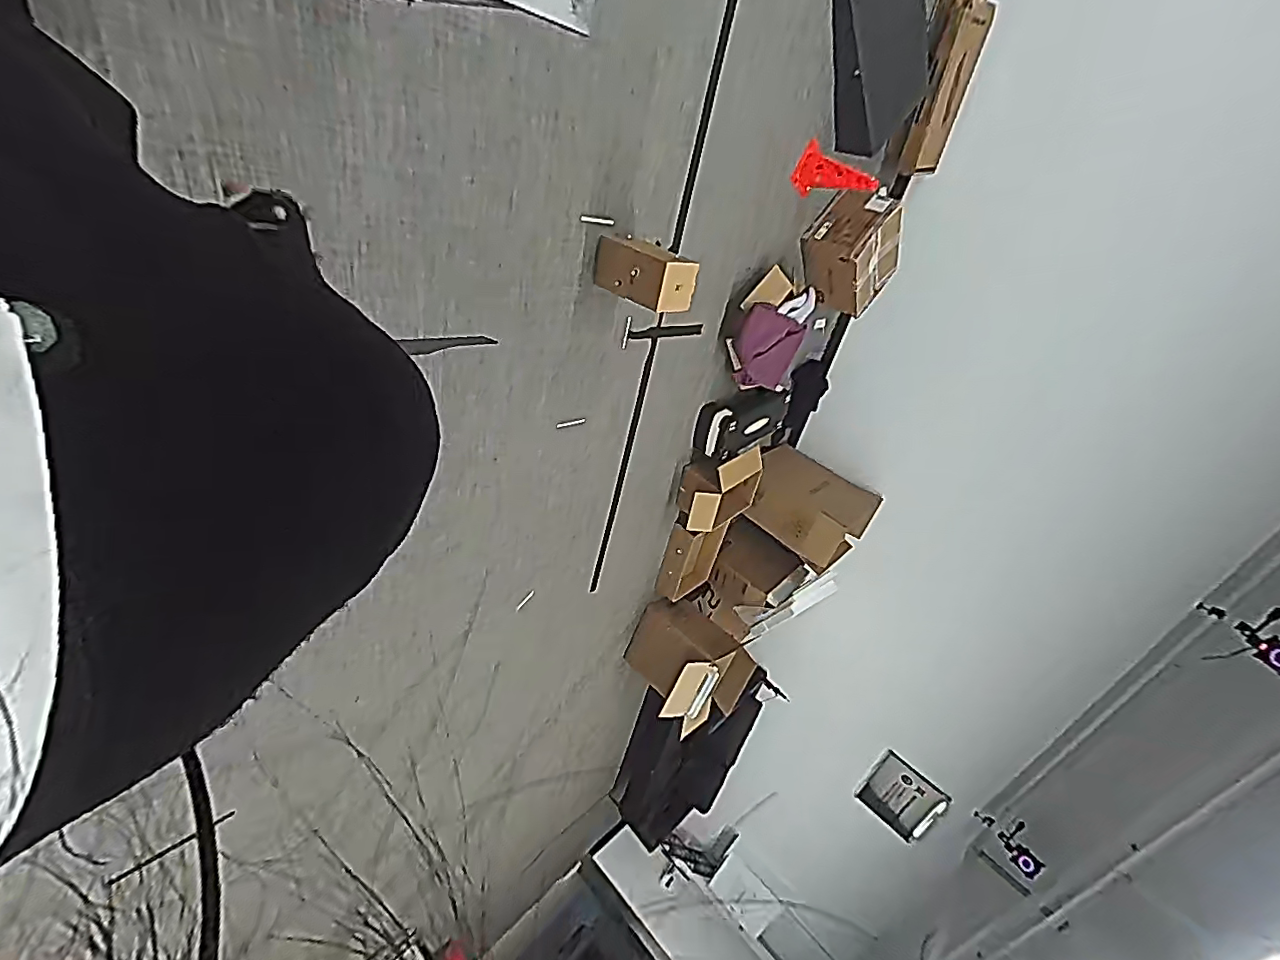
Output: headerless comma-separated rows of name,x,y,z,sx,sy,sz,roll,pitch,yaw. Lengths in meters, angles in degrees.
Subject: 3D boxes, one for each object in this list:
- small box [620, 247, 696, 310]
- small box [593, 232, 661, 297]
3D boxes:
small box,0.059,-0.698,1.868,0.179,0.176,0.168,-20,134,-42
small box,-0.052,-0.779,1.954,0.168,0.176,0.179,-22,137,-43
